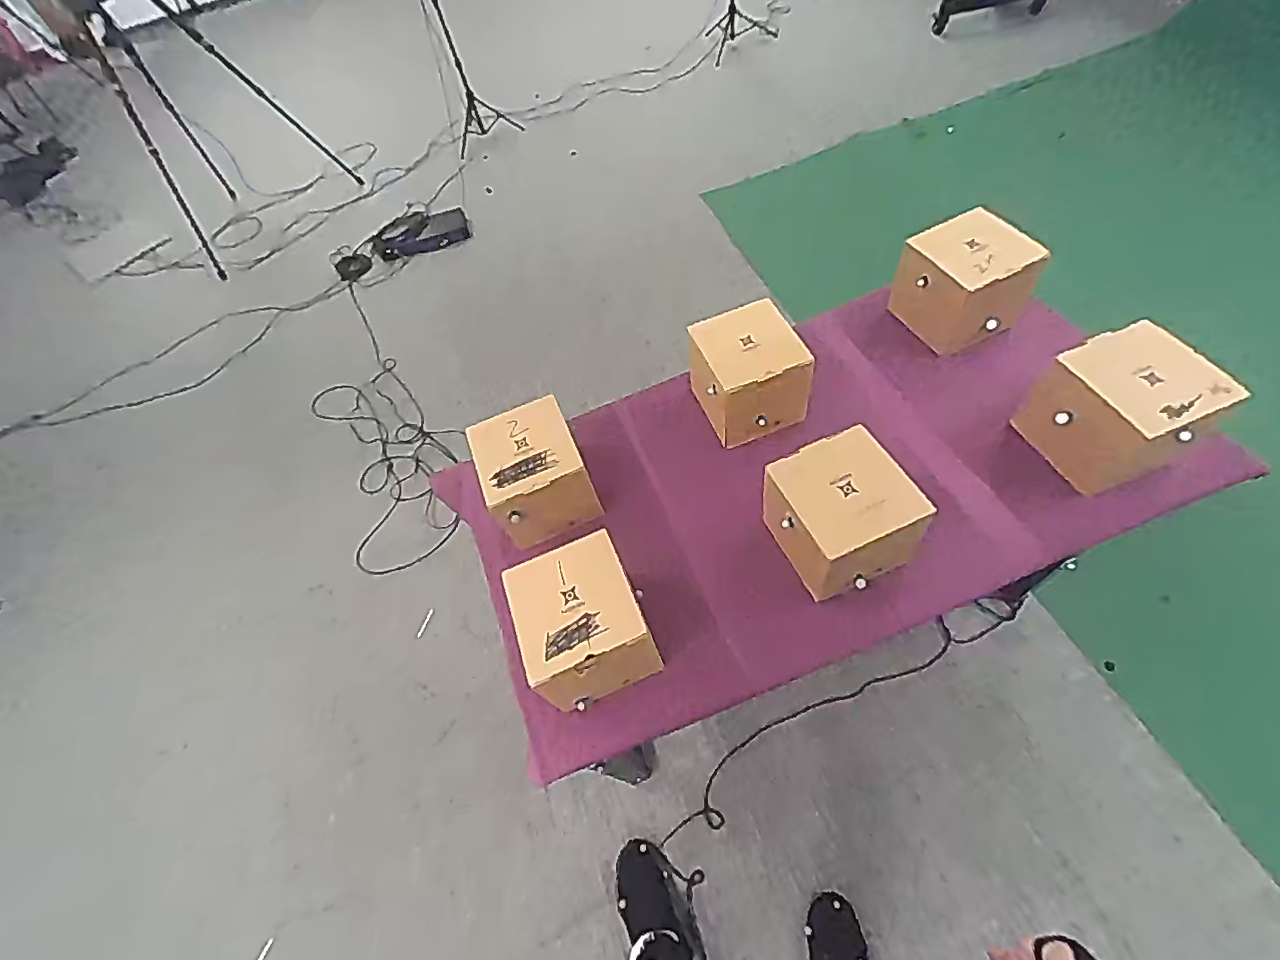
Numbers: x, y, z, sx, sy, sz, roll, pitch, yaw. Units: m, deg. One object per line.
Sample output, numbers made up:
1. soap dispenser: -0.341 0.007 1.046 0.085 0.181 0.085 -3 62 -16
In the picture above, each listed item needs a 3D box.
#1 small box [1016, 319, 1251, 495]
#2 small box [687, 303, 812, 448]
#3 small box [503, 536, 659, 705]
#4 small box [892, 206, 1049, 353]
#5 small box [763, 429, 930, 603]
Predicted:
1. small box: 0.739 -0.108 0.840 0.168 0.176 0.179 -23 57 -1
2. small box: 0.198 -0.192 1.015 0.168 0.176 0.179 -22 58 -2
3. small box: -0.083 0.220 0.814 0.168 0.176 0.179 -23 55 -4
4. small box: 0.614 -0.378 1.035 0.168 0.176 0.179 -26 58 -1
5. small box: 0.302 0.060 0.834 0.168 0.176 0.179 -24 56 -2
